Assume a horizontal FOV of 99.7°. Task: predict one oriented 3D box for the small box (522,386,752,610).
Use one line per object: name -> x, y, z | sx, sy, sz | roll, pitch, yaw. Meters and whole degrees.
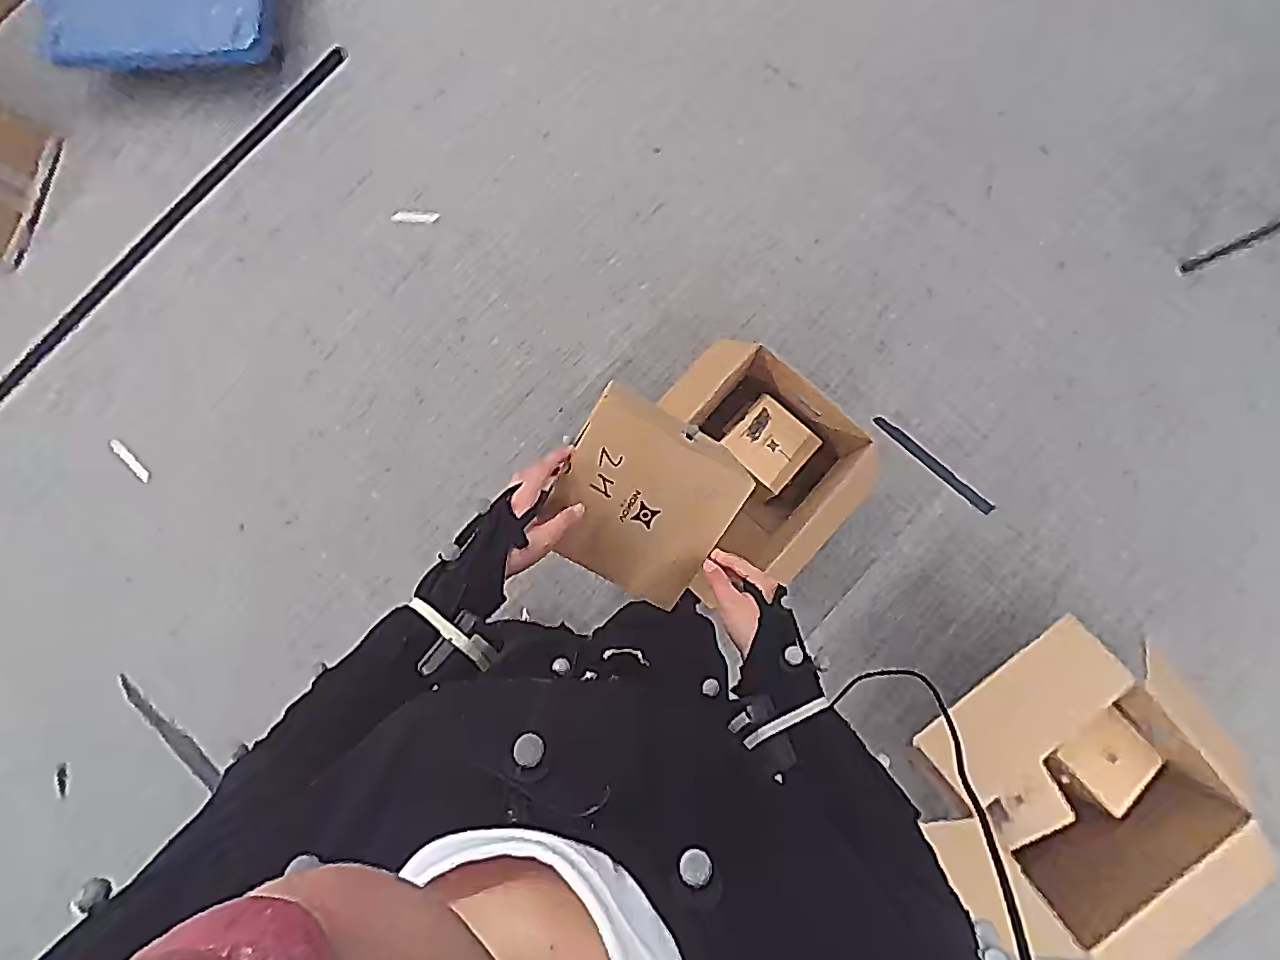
small box -> -0.004, 0.007, 0.610 | 0.179, 0.176, 0.168 | 30, 103, -8
